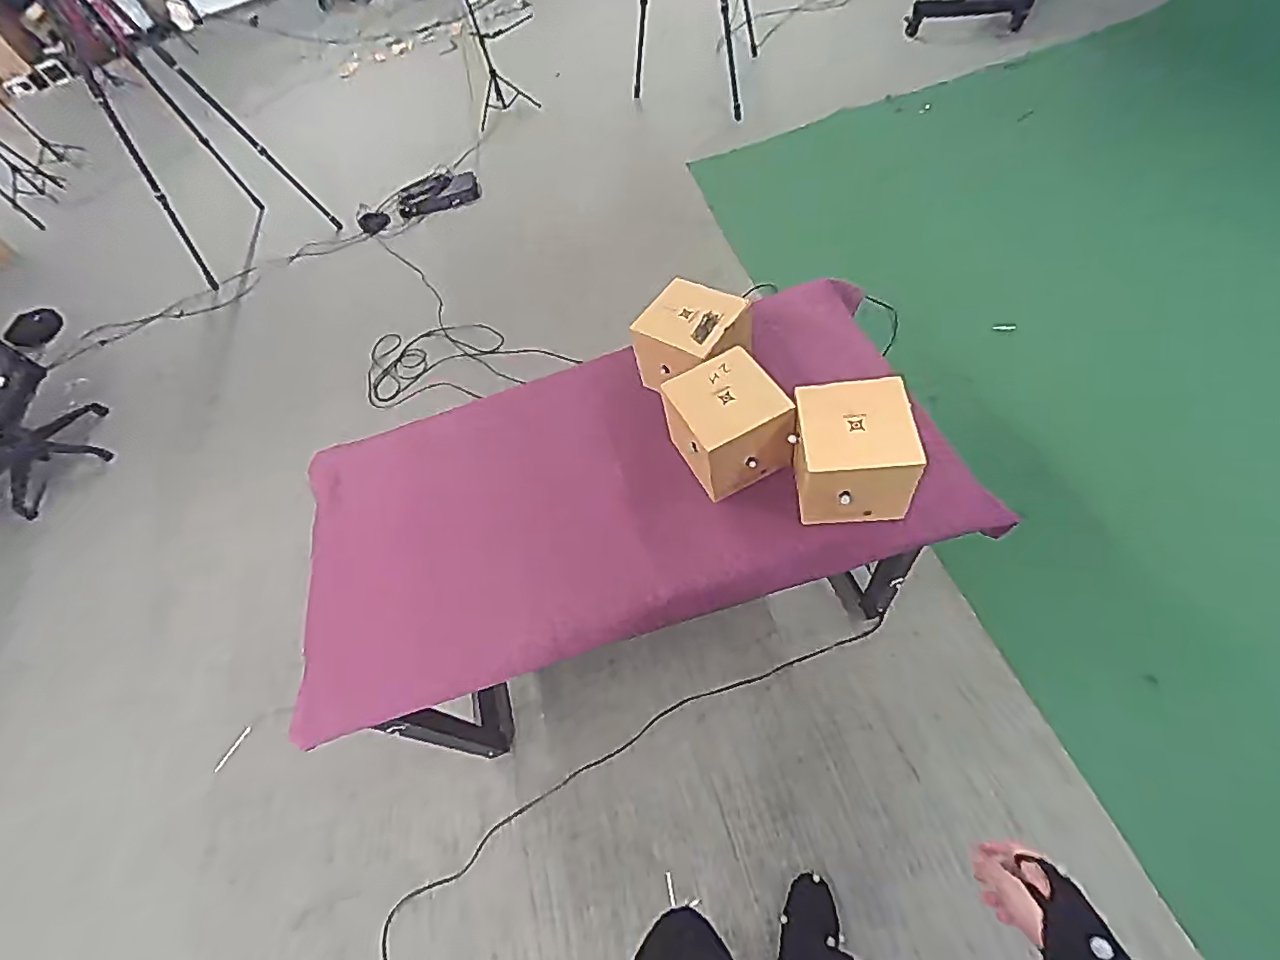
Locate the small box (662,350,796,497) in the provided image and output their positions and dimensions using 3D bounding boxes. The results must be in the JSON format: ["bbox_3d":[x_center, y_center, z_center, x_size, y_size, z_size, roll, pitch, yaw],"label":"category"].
[{"bbox_3d":[0.160,-0.091,0.967,0.168,0.176,0.179,-27,56,-5],"label":"small box"}]

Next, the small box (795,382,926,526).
[{"bbox_3d":[0.348,-0.034,0.888,0.168,0.176,0.179,-4,55,11],"label":"small box"}]
